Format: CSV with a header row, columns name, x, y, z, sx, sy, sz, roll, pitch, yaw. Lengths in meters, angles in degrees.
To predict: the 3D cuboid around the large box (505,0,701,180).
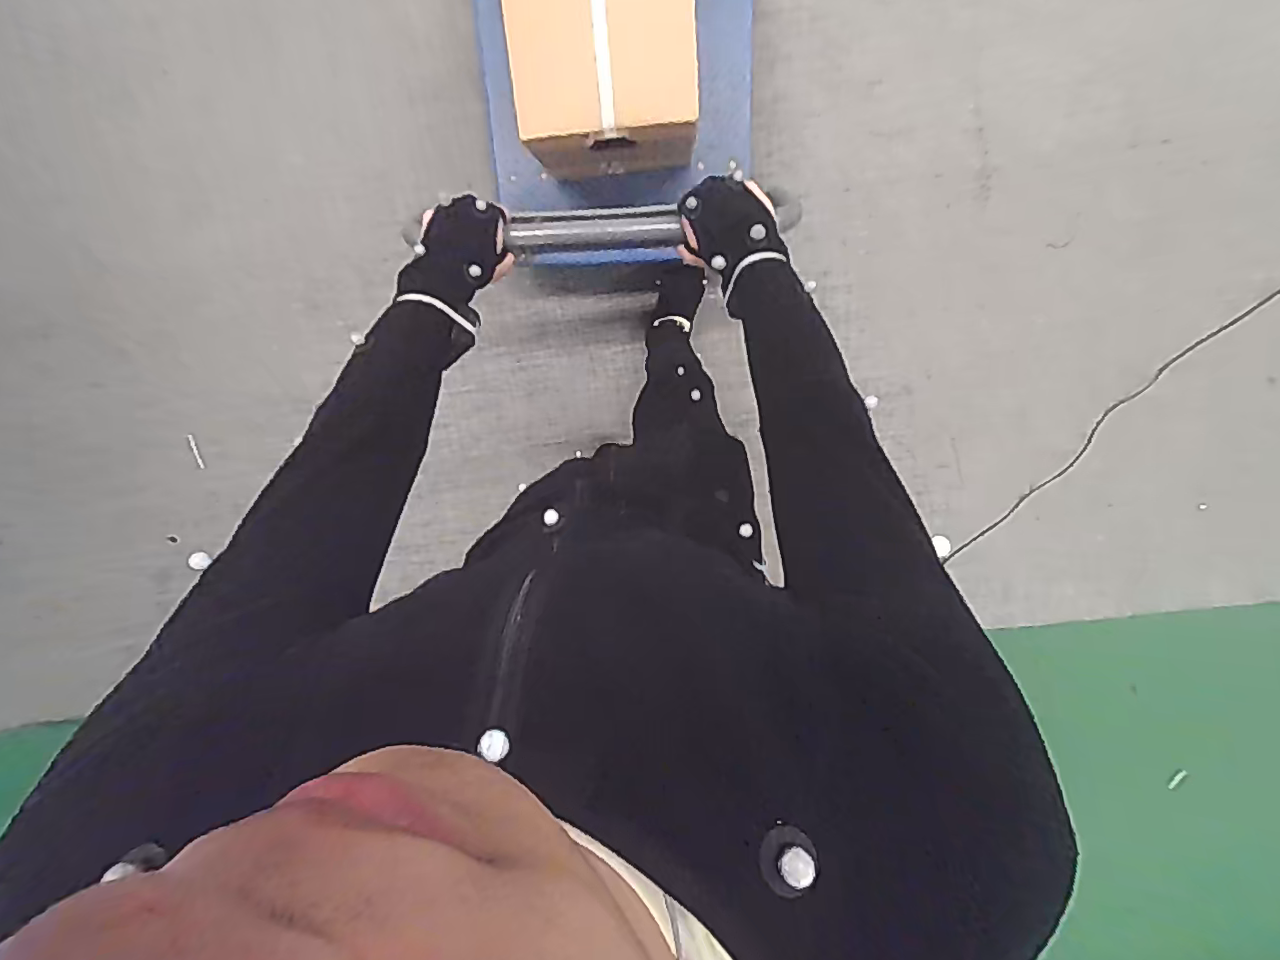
name,x,y,z,sx,sy,sz,roll,pitch,yaw
large box,-0.059,-0.834,1.016,0.320,0.320,0.408,-4,107,4
